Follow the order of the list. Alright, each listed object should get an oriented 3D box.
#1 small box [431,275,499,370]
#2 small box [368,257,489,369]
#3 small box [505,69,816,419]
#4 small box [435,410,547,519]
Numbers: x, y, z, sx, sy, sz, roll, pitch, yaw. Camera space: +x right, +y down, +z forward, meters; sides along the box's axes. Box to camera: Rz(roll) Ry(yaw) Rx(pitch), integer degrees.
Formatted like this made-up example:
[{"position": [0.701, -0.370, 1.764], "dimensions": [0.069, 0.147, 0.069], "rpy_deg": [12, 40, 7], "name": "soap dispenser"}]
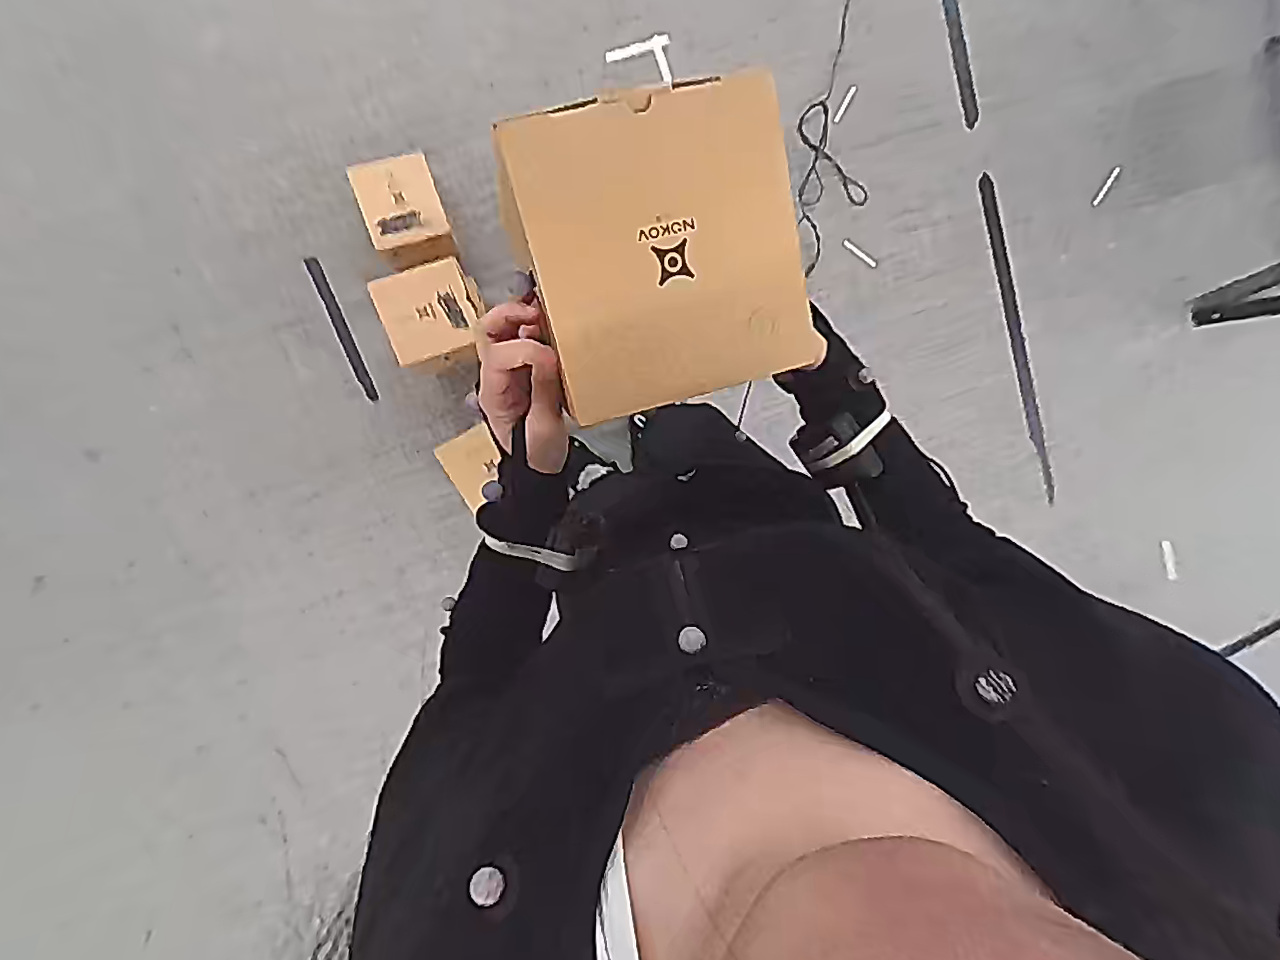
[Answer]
[{"position": [-0.448, -0.366, 1.286], "dimensions": [0.179, 0.176, 0.168], "rpy_deg": [-18, 101, -9], "name": "small box"}, {"position": [-0.425, -0.339, 1.125], "dimensions": [0.179, 0.176, 0.168], "rpy_deg": [-21, 100, -7], "name": "small box"}, {"position": [0.006, -0.155, 0.401], "dimensions": [0.168, 0.176, 0.179], "rpy_deg": [-15, 103, -8], "name": "small box"}, {"position": [-0.318, -0.040, 1.185], "dimensions": [0.168, 0.176, 0.179], "rpy_deg": [-32, 100, -7], "name": "small box"}]
